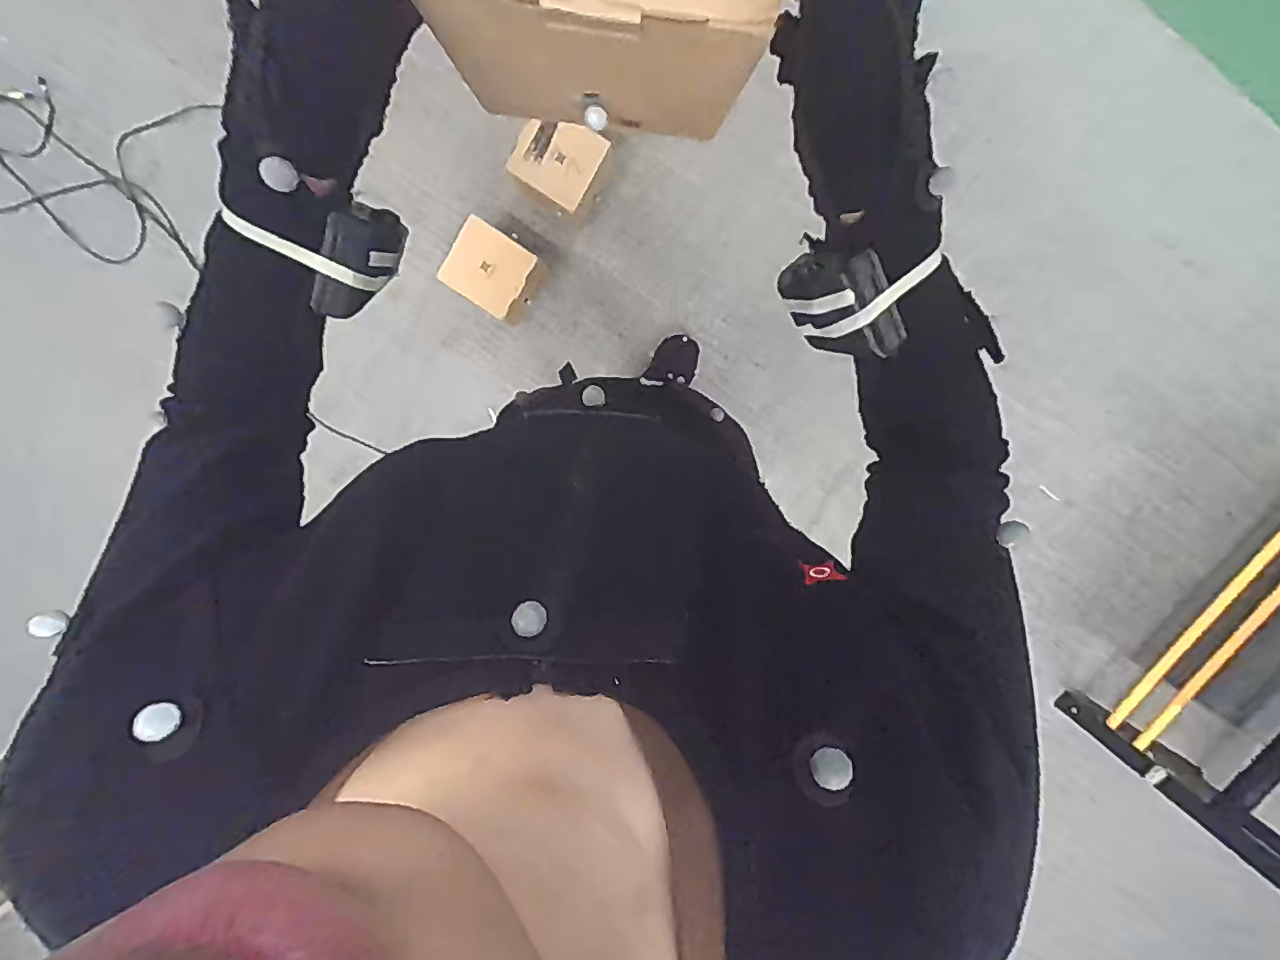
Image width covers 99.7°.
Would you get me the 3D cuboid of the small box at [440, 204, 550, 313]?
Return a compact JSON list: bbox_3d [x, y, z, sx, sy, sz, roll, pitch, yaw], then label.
[{"bbox_3d":[-0.337,-0.514,1.286,0.179,0.176,0.168,32,101,-7],"label":"small box"}]
